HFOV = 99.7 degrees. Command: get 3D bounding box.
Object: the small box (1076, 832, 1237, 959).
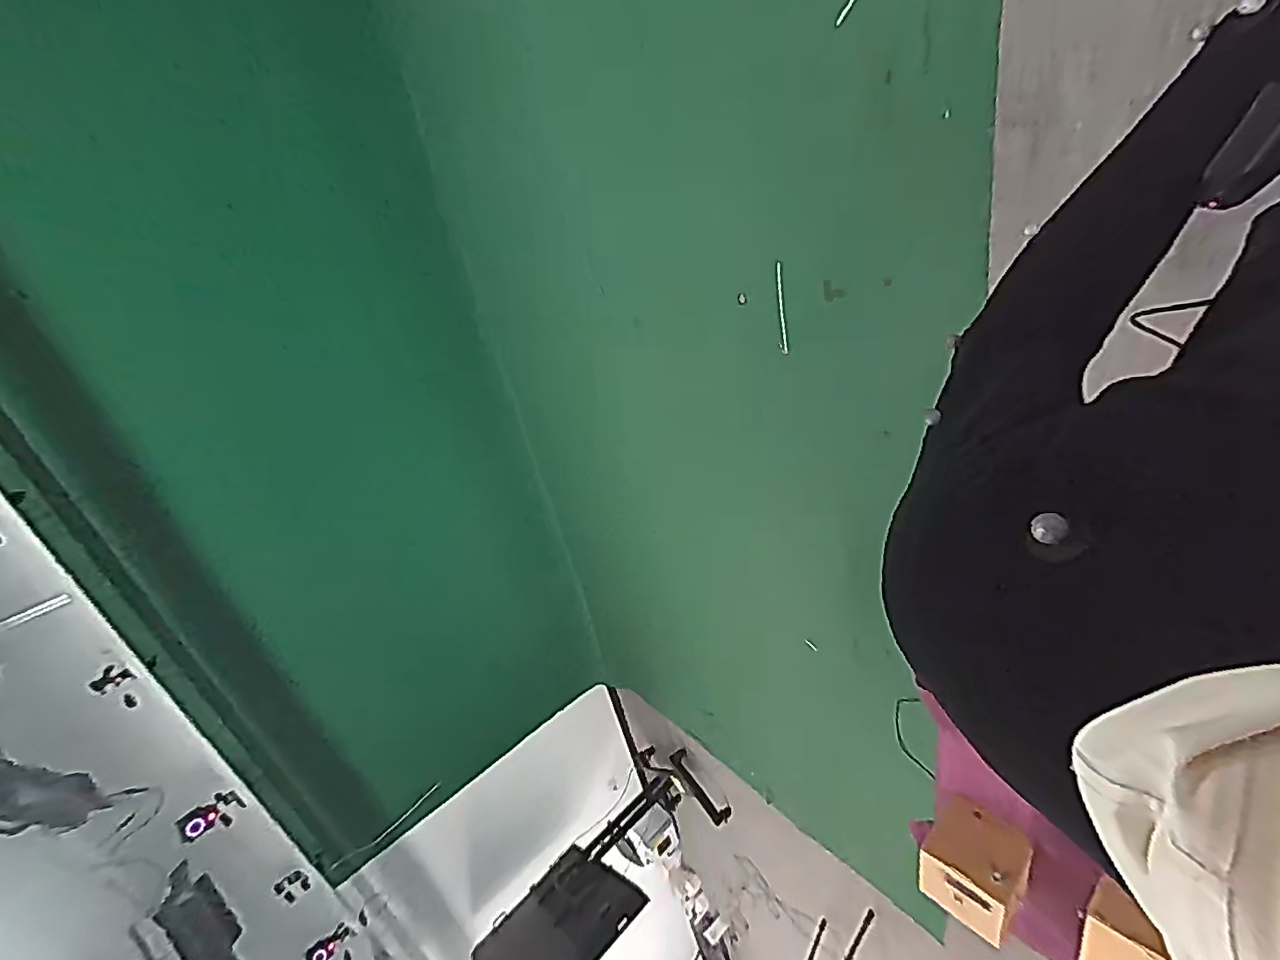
[{"bbox_3d":[0.893,0.774,0.939,0.168,0.176,0.179,16,129,49],"label":"small box"}]
